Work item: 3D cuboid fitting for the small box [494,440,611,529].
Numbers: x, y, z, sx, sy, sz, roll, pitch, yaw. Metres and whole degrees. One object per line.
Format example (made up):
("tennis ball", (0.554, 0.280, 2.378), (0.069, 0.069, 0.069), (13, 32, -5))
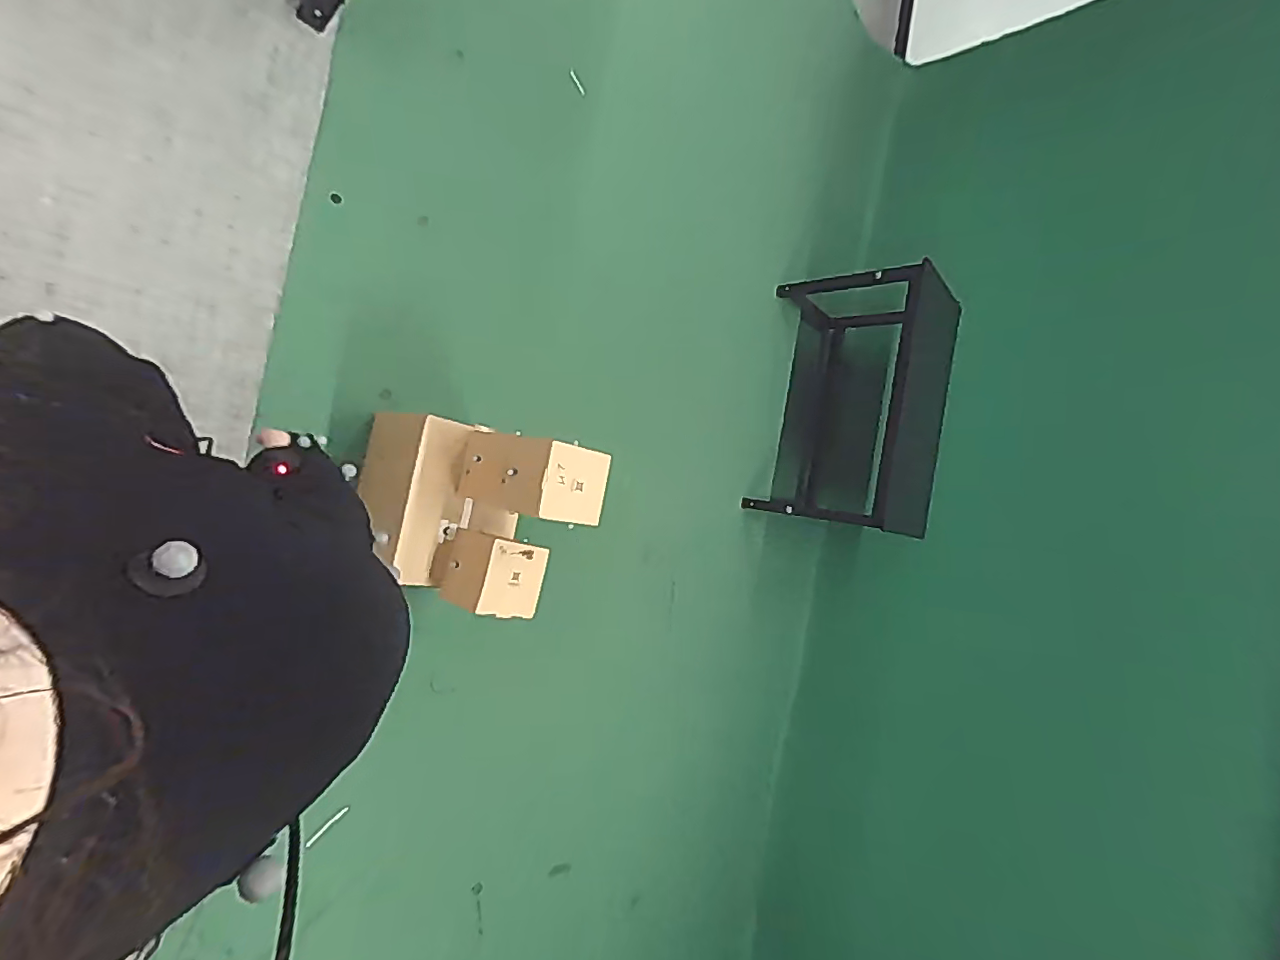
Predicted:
("small box", (-0.197, 0.007, 1.212), (0.179, 0.176, 0.168), (14, 86, -47))

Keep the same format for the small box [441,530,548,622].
("small box", (-0.358, 0.232, 1.312), (0.168, 0.176, 0.179), (23, 79, -47))

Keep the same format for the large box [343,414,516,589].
("large box", (-0.545, 0.057, 1.446), (0.320, 0.320, 0.408), (15, 86, -46))

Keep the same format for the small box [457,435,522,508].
("small box", (-0.315, -0.012, 1.325), (0.179, 0.176, 0.168), (15, 85, -47))
